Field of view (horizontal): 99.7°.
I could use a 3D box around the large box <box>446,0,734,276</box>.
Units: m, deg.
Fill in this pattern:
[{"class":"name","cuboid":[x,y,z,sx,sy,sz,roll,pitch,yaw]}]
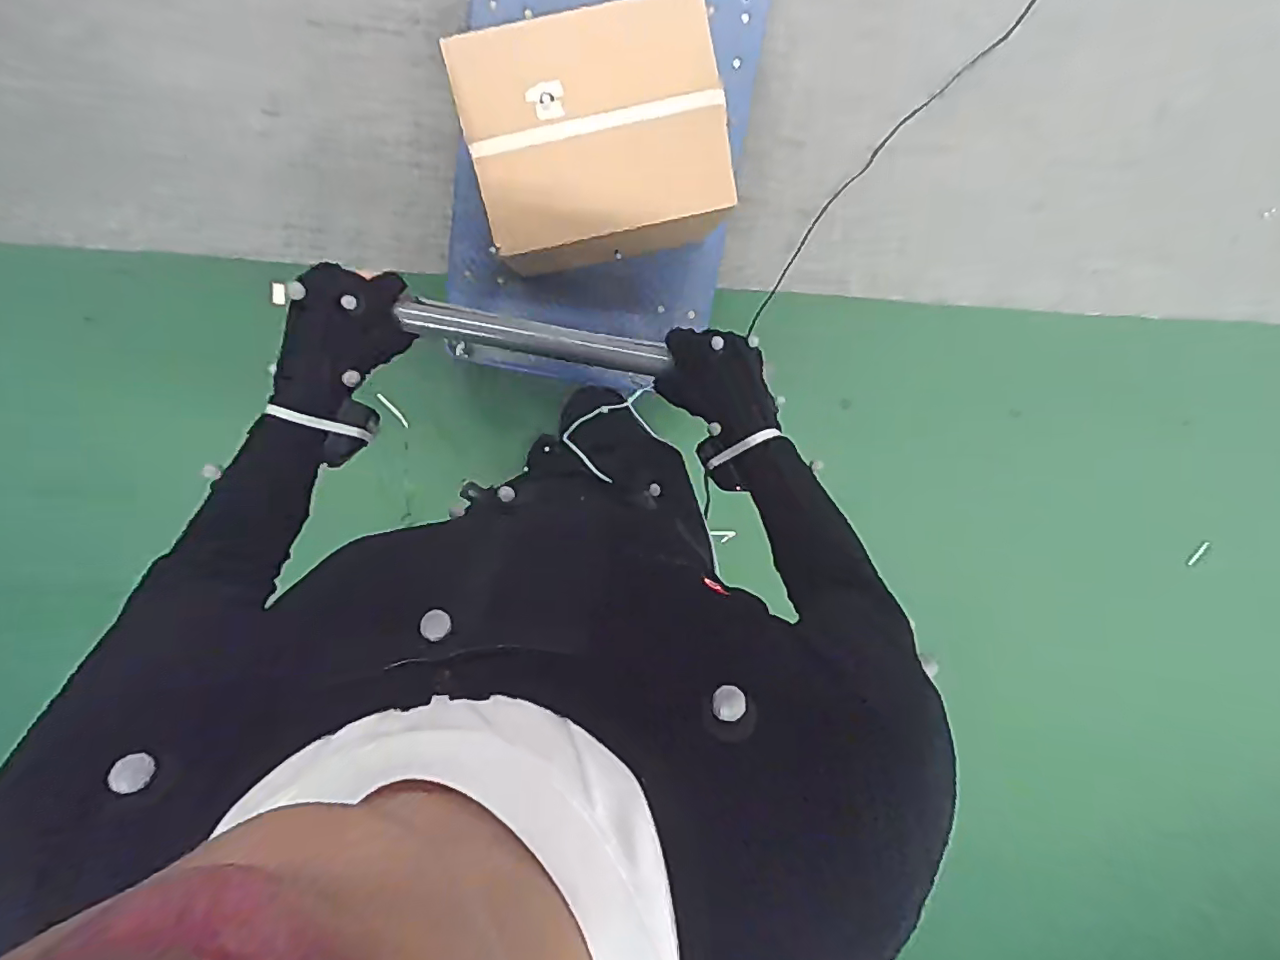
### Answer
[{"class":"large box","cuboid":[-0.077,-0.591,0.996,0.408,0.320,0.320,-13,104,0]}]
